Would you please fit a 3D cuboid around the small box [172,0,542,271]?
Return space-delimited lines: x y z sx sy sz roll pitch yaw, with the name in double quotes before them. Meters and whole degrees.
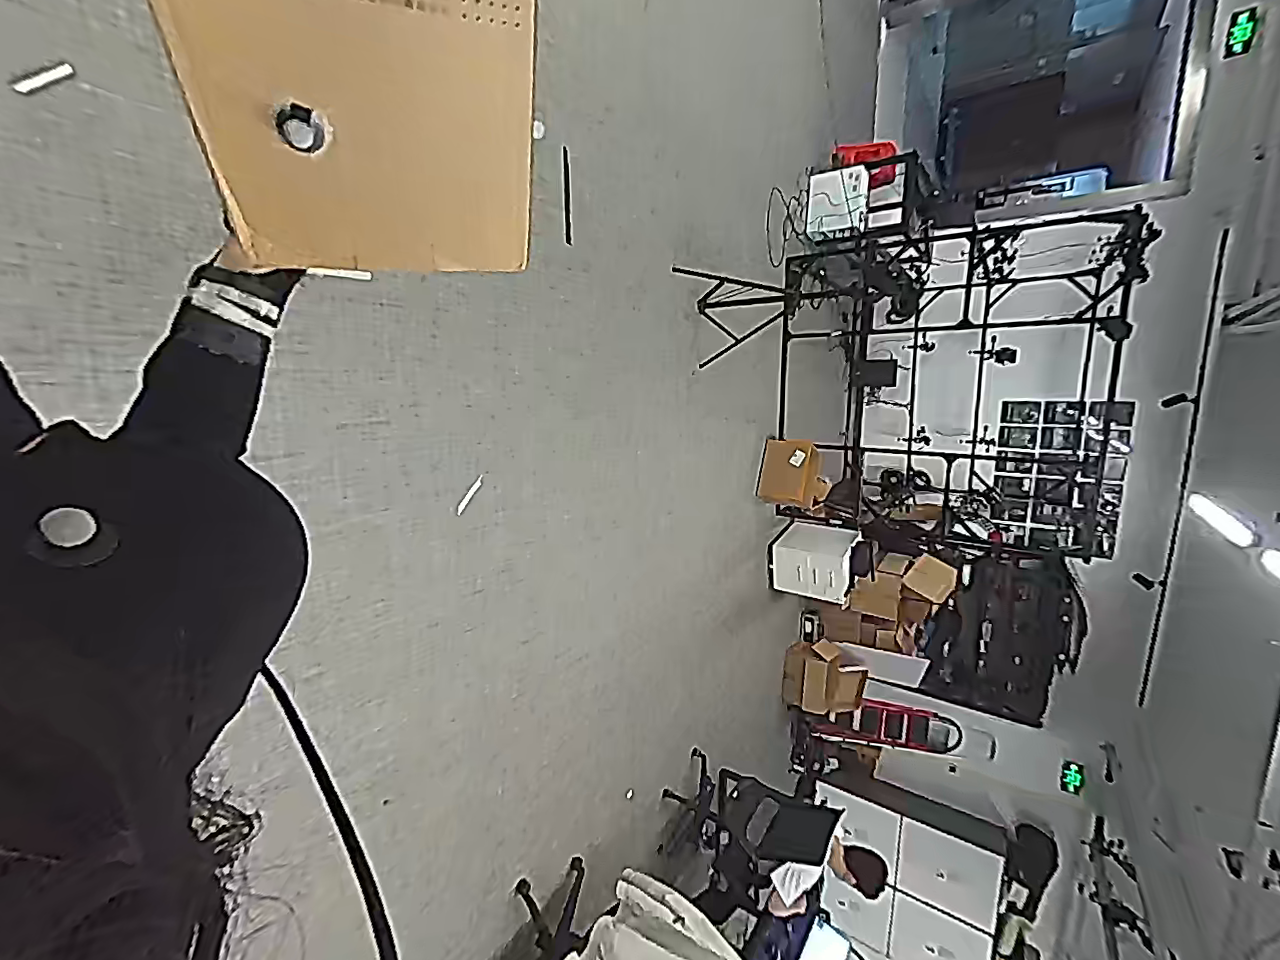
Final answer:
"small box" -0.159 -0.250 0.330 0.168 0.179 0.176 -6 139 -22
